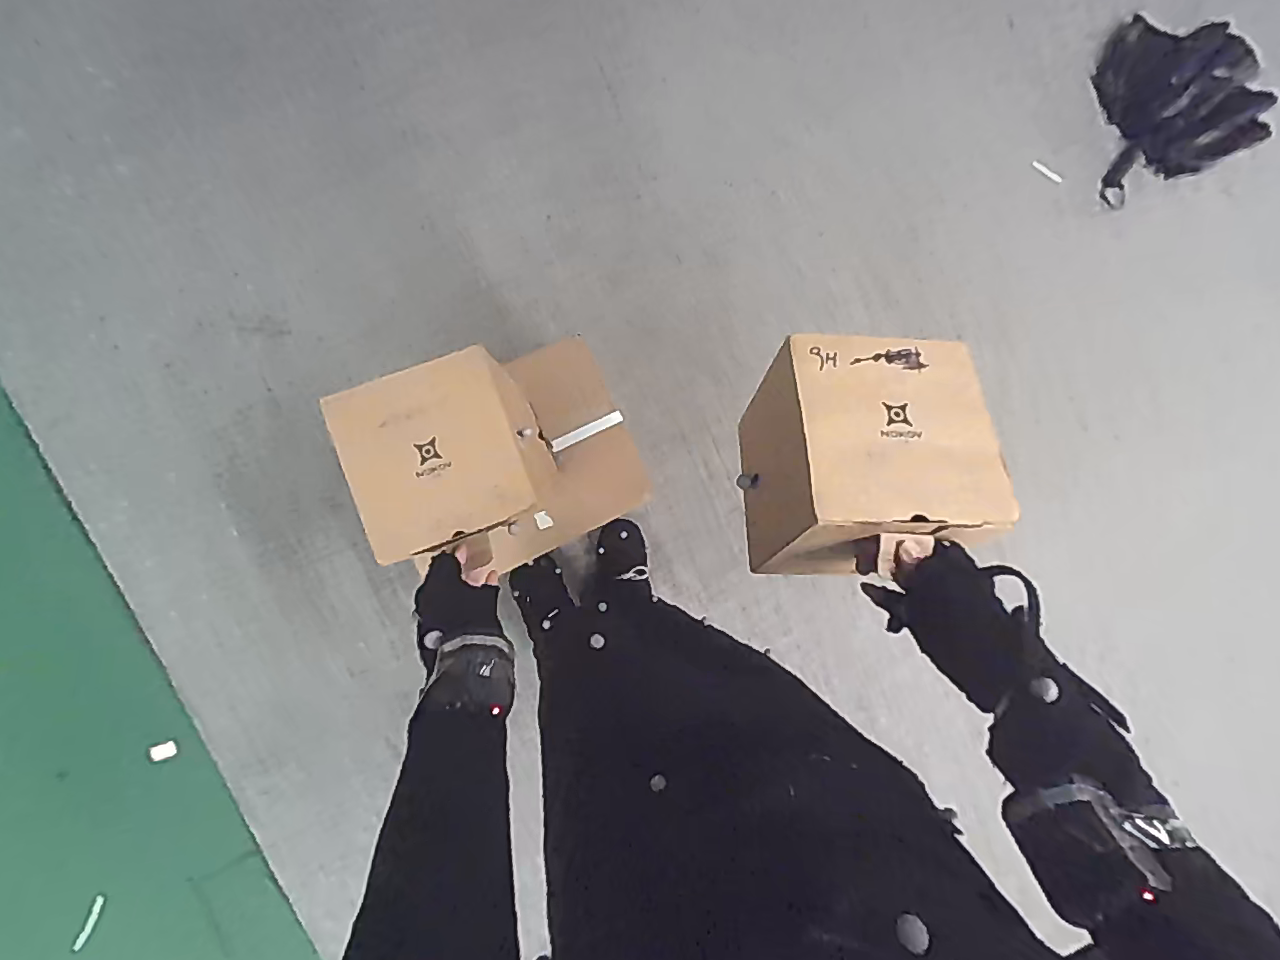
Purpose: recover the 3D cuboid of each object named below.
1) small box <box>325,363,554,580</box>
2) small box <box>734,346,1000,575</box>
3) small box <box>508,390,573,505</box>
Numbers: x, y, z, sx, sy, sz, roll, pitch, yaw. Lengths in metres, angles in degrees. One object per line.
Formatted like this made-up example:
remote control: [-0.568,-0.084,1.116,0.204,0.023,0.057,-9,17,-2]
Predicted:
small box: [-0.207,-0.008,0.611,0.168,0.176,0.179,-21,89,-2]
small box: [0.195,-0.006,0.523,0.168,0.176,0.179,1,68,-6]
small box: [-0.218,-0.024,0.799,0.179,0.176,0.168,-27,102,-7]
